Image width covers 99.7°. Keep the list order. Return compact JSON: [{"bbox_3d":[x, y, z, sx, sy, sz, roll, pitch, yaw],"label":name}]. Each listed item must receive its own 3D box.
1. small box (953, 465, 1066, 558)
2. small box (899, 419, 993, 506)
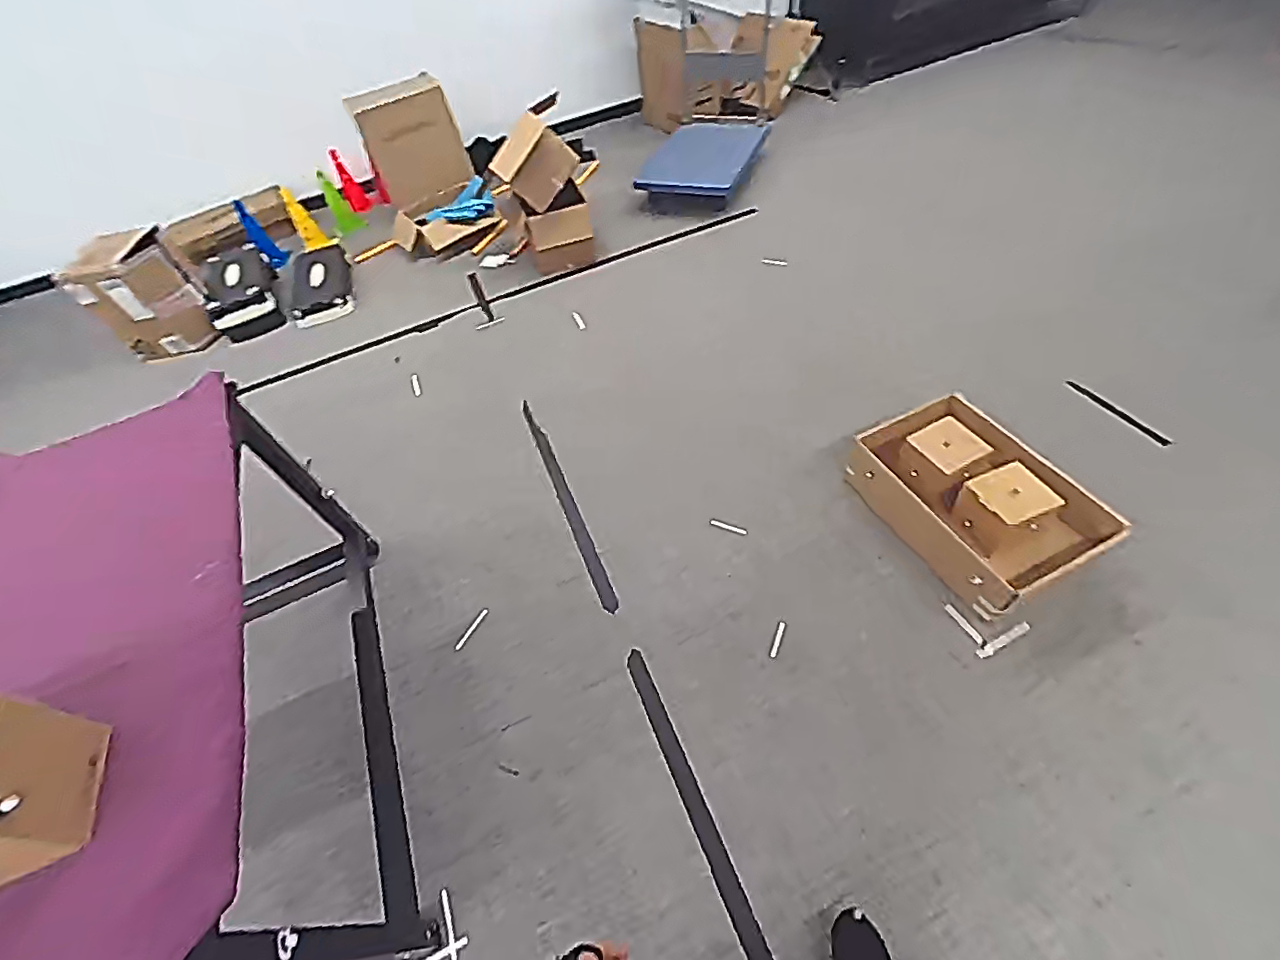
[{"bbox_3d":[1.029,0.092,1.526,0.179,0.176,0.168,-20,51,-6],"label":"small box"},{"bbox_3d":[0.922,-0.049,1.653,0.179,0.176,0.168,-25,54,-11],"label":"small box"}]
